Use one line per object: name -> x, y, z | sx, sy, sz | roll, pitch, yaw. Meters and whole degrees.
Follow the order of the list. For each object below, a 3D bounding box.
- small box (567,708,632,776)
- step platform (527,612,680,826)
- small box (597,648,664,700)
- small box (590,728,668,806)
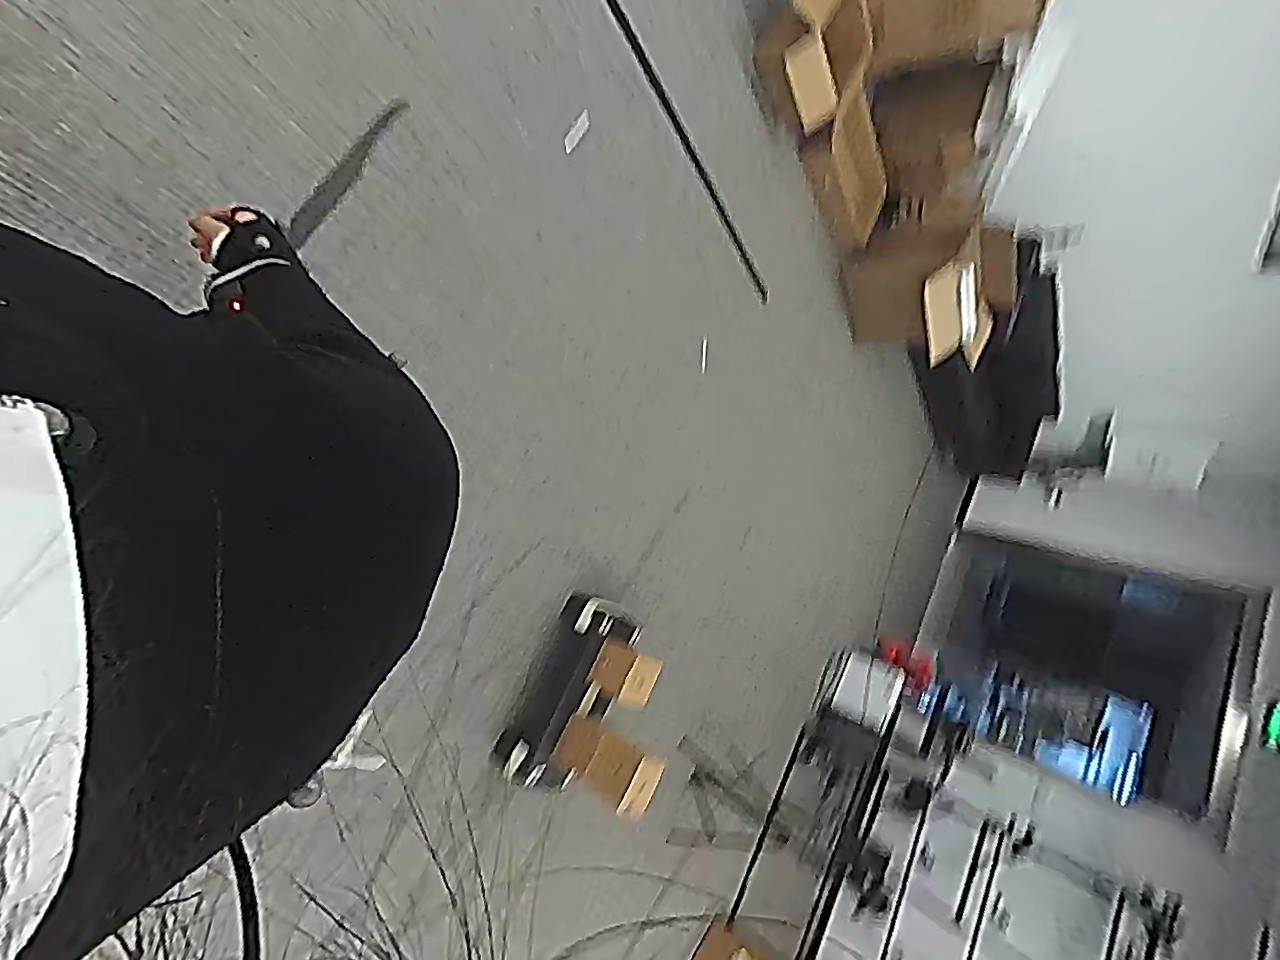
small box -> -0.168, 0.938, 1.946 | 0.168, 0.176, 0.179 | 40, 71, -46
step platform -> -0.118, 0.821, 1.914 | 0.286, 0.204, 0.684 | 39, 73, -46
small box -> -0.047, 0.692, 2.006 | 0.179, 0.176, 0.168 | 39, 72, -45
small box -> -0.041, 0.979, 1.851 | 0.168, 0.176, 0.179 | 44, 67, -44
